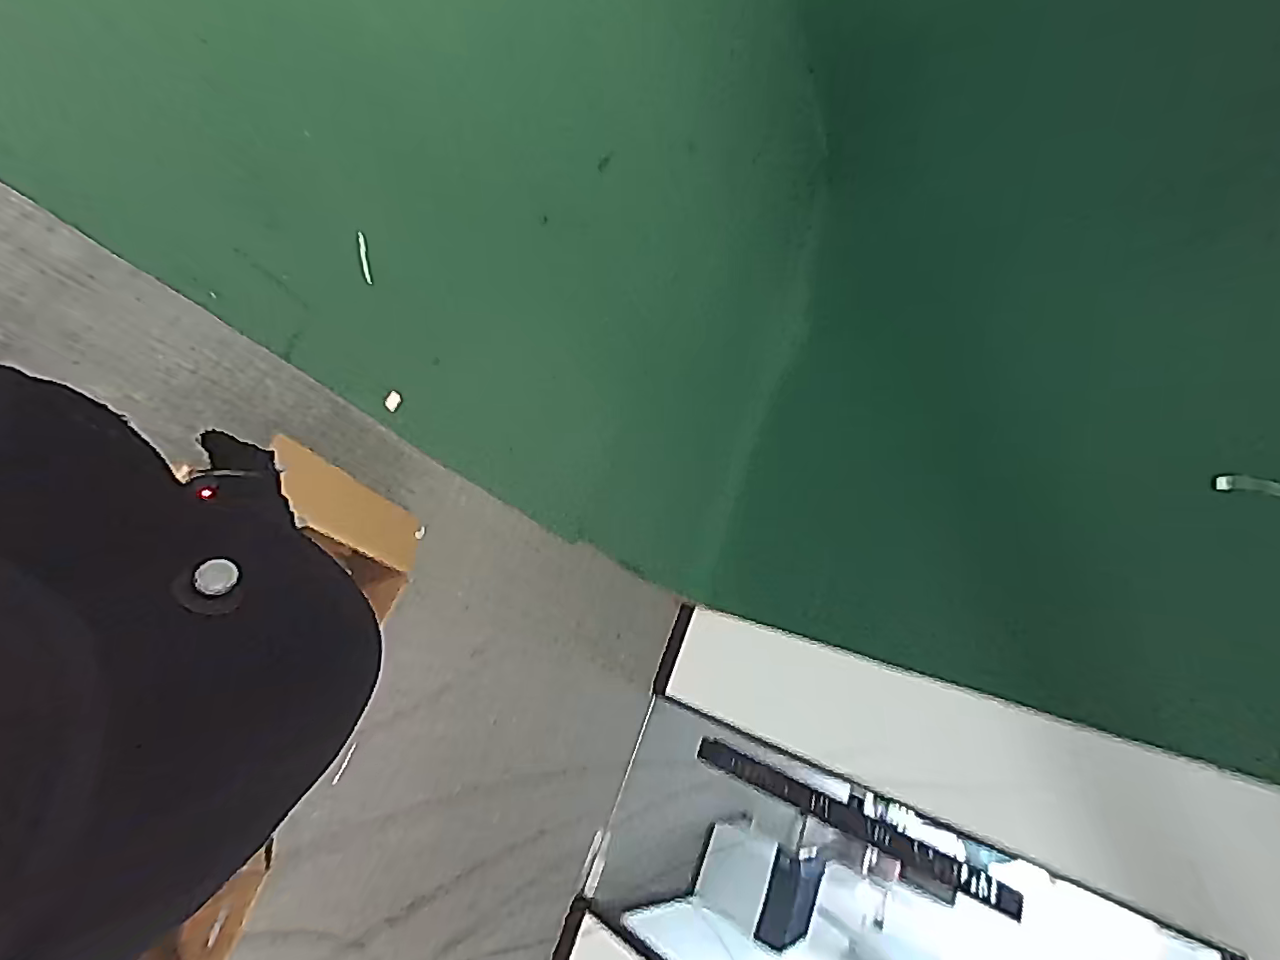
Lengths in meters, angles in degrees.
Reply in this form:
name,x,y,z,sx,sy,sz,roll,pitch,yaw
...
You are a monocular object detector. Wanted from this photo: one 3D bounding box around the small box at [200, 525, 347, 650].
name,x,y,z,sx,sy,sz,roll,pitch,yaw
small box,-0.753,0.217,1.106,0.168,0.176,0.179,46,65,-49
